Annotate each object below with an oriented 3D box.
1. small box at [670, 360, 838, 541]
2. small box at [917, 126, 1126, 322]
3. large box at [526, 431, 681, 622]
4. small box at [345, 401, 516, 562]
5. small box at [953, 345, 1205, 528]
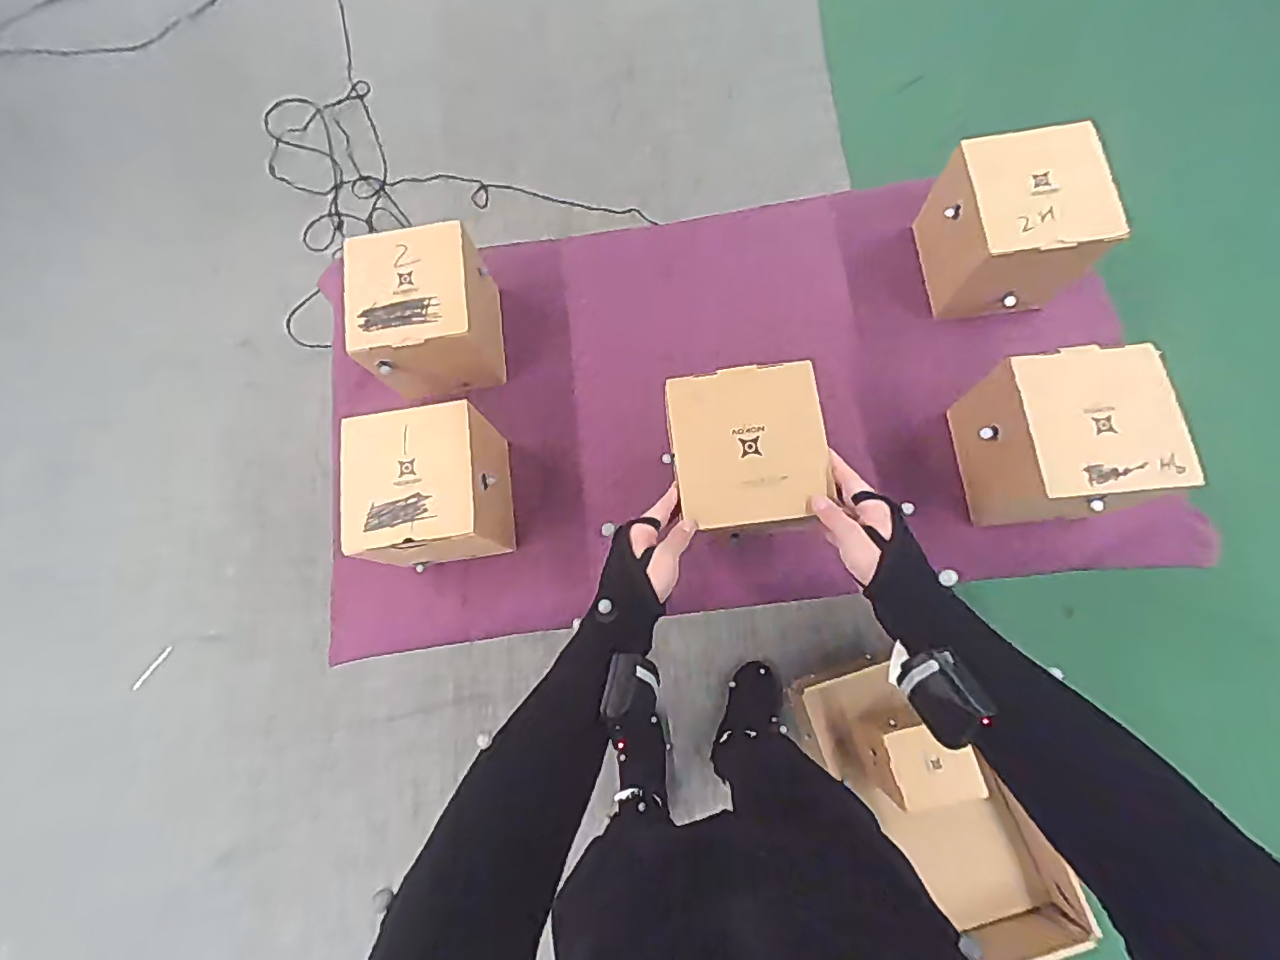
[{"bbox_3d":[0.125,-0.026,0.667,0.168,0.176,0.179,-7,78,3],"label":"small box"},{"bbox_3d":[0.518,-0.351,0.766,0.168,0.176,0.179,-6,76,6],"label":"small box"},{"bbox_3d":[-0.080,0.135,1.380,0.320,0.320,0.408,-9,74,1],"label":"large box"},{"bbox_3d":[-0.275,0.014,0.740,0.168,0.176,0.179,-8,74,2],"label":"small box"},{"bbox_3d":[0.530,-0.046,0.688,0.168,0.176,0.179,-6,73,5],"label":"small box"}]
